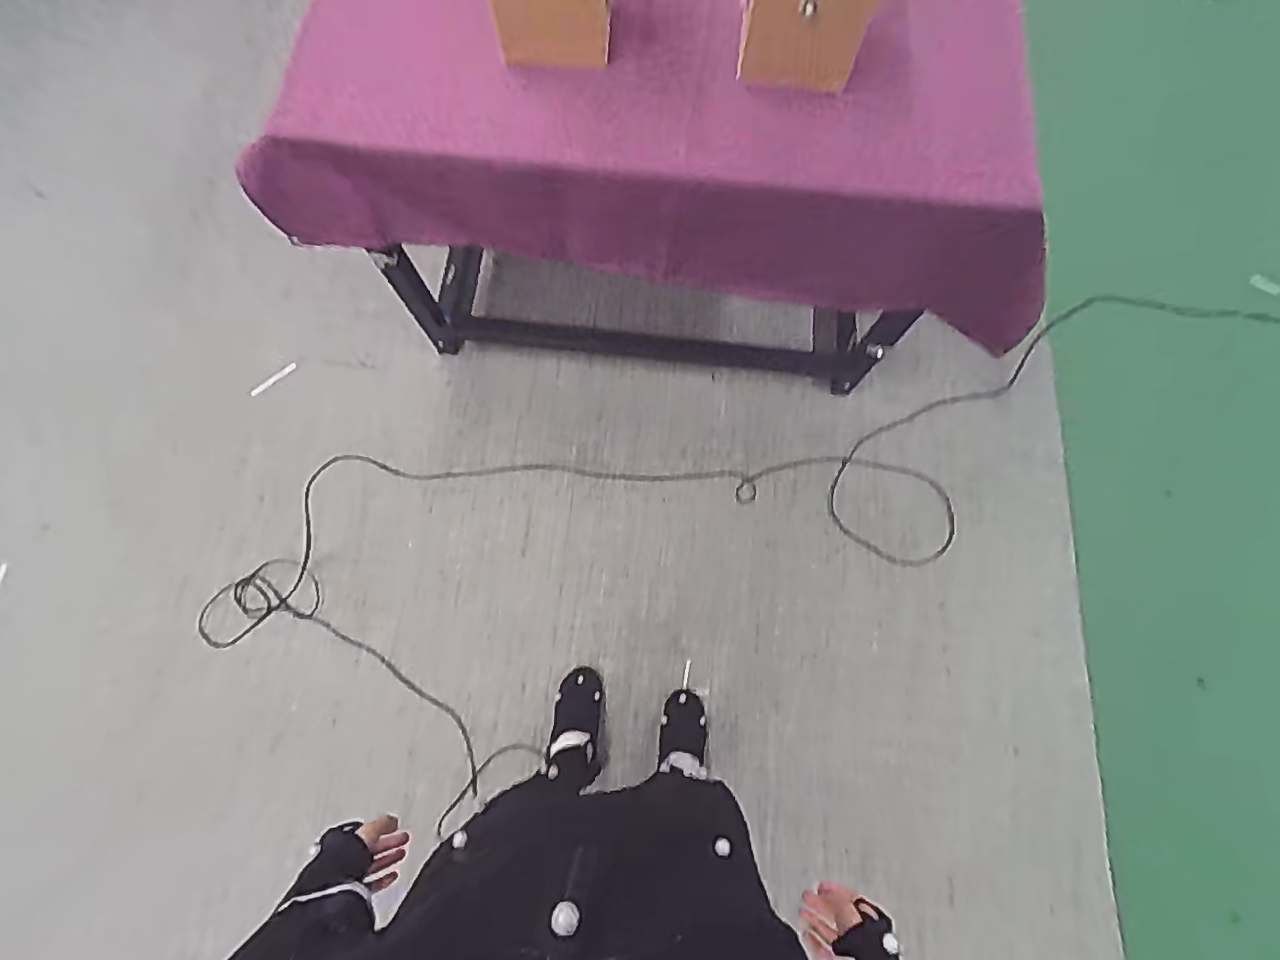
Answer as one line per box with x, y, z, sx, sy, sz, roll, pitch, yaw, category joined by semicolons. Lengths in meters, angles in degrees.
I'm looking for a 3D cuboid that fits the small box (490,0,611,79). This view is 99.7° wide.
-0.140;-0.769;0.846;0.179;0.176;0.168;2;74;-1;small box

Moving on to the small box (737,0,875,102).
0.254;-0.728;0.837;0.179;0.176;0.168;8;75;1;small box
